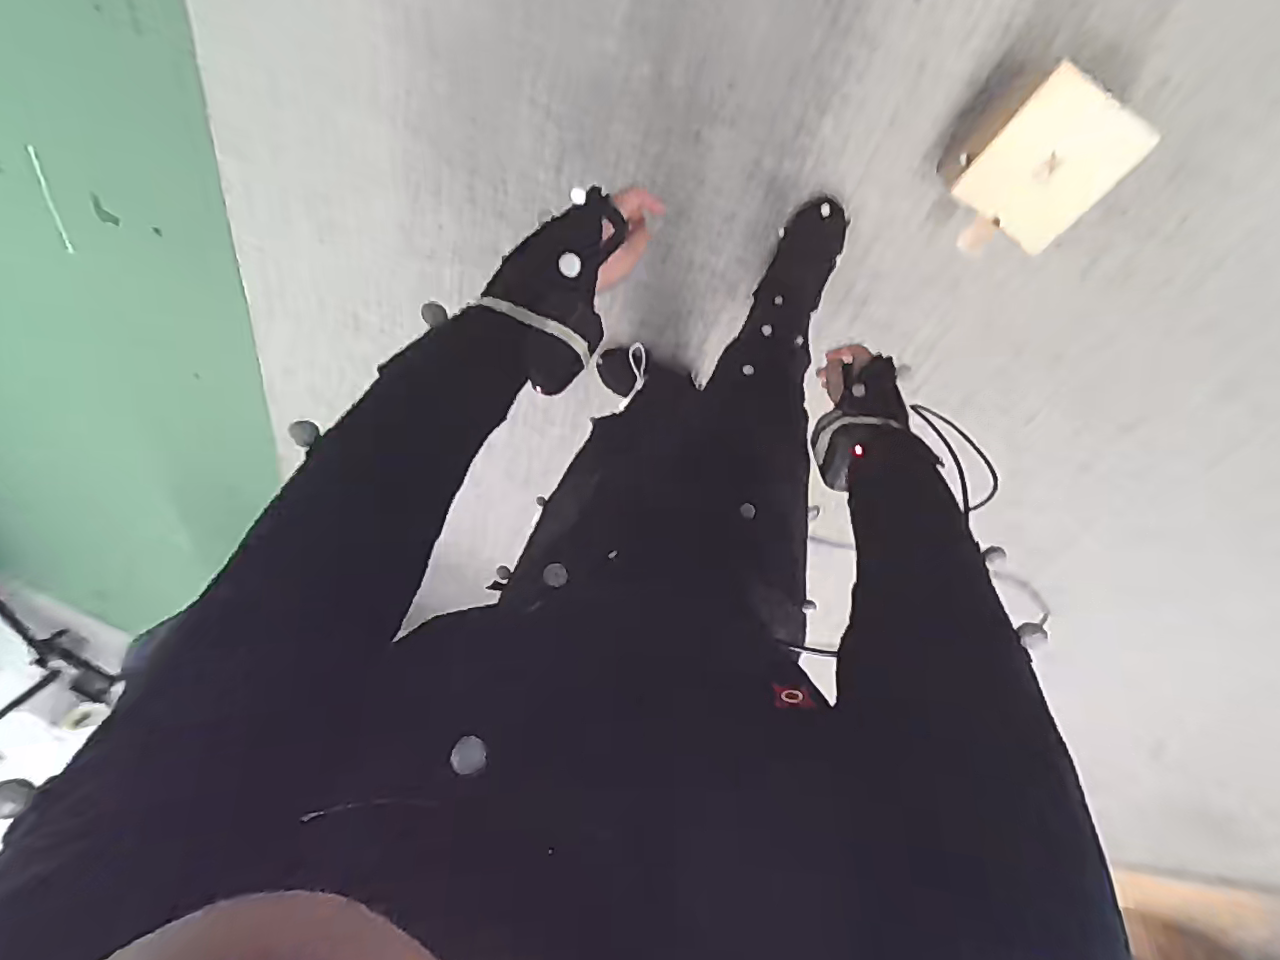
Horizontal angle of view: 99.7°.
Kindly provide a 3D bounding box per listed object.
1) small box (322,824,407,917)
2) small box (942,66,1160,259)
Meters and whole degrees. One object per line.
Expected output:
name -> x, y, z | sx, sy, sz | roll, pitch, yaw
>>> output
small box -> -0.828, 1.176, 1.636 | 0.168, 0.176, 0.179 | 29, 132, 2
small box -> 0.579, -0.467, 0.794 | 0.168, 0.176, 0.179 | 33, 131, -5
